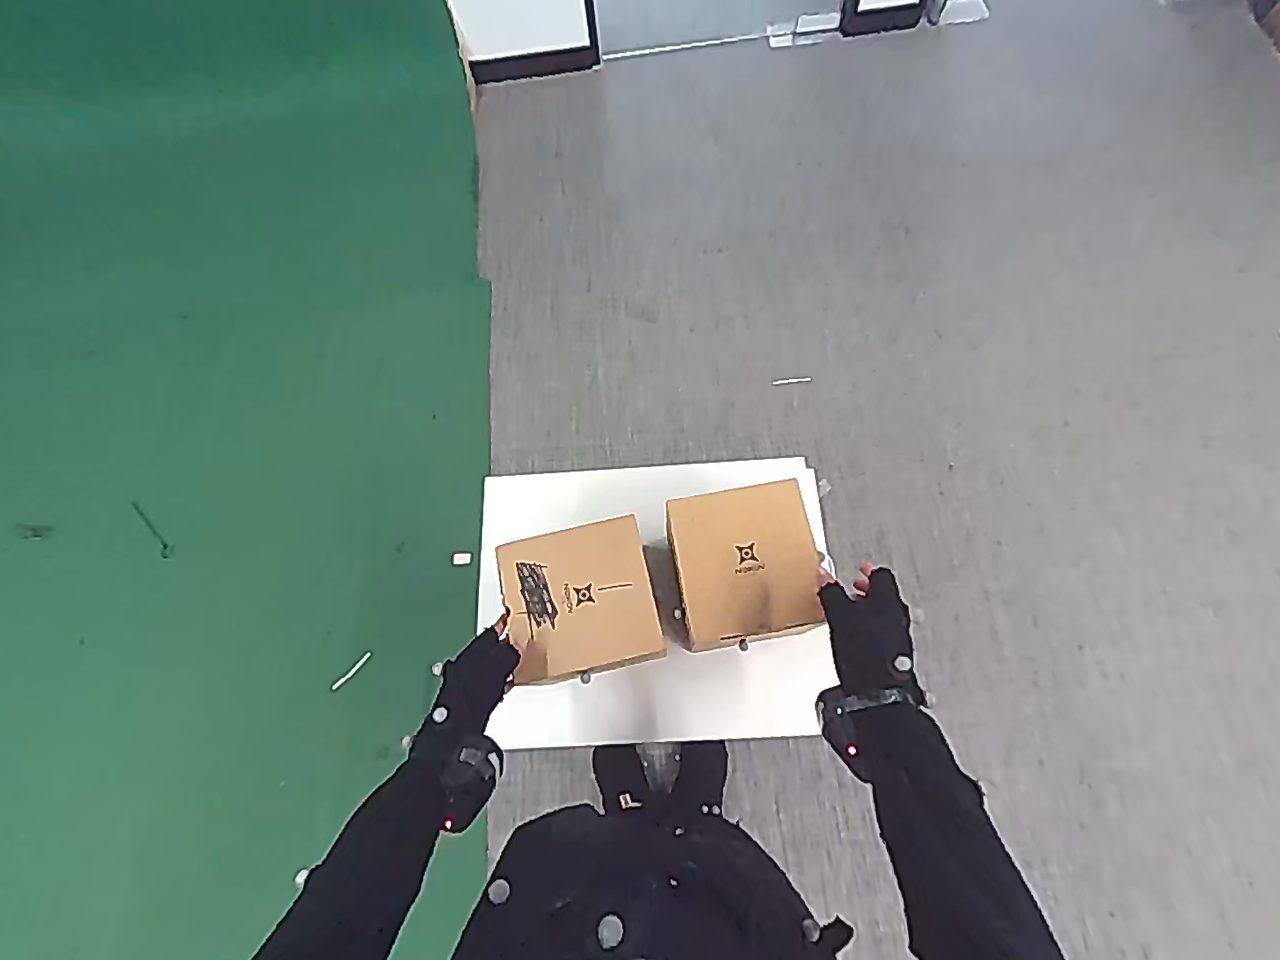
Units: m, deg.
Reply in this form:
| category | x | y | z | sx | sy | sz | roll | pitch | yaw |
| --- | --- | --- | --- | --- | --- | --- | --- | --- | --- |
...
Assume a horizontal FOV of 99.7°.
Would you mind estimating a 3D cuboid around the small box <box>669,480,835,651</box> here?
| category | x | y | z | sx | sy | sz | roll | pitch | yaw |
| --- | --- | --- | --- | --- | --- | --- | --- | --- | --- |
| small box | 0.131 | 0.120 | 0.711 | 0.168 | 0.176 | 0.179 | -10 | 70 | 0 |
